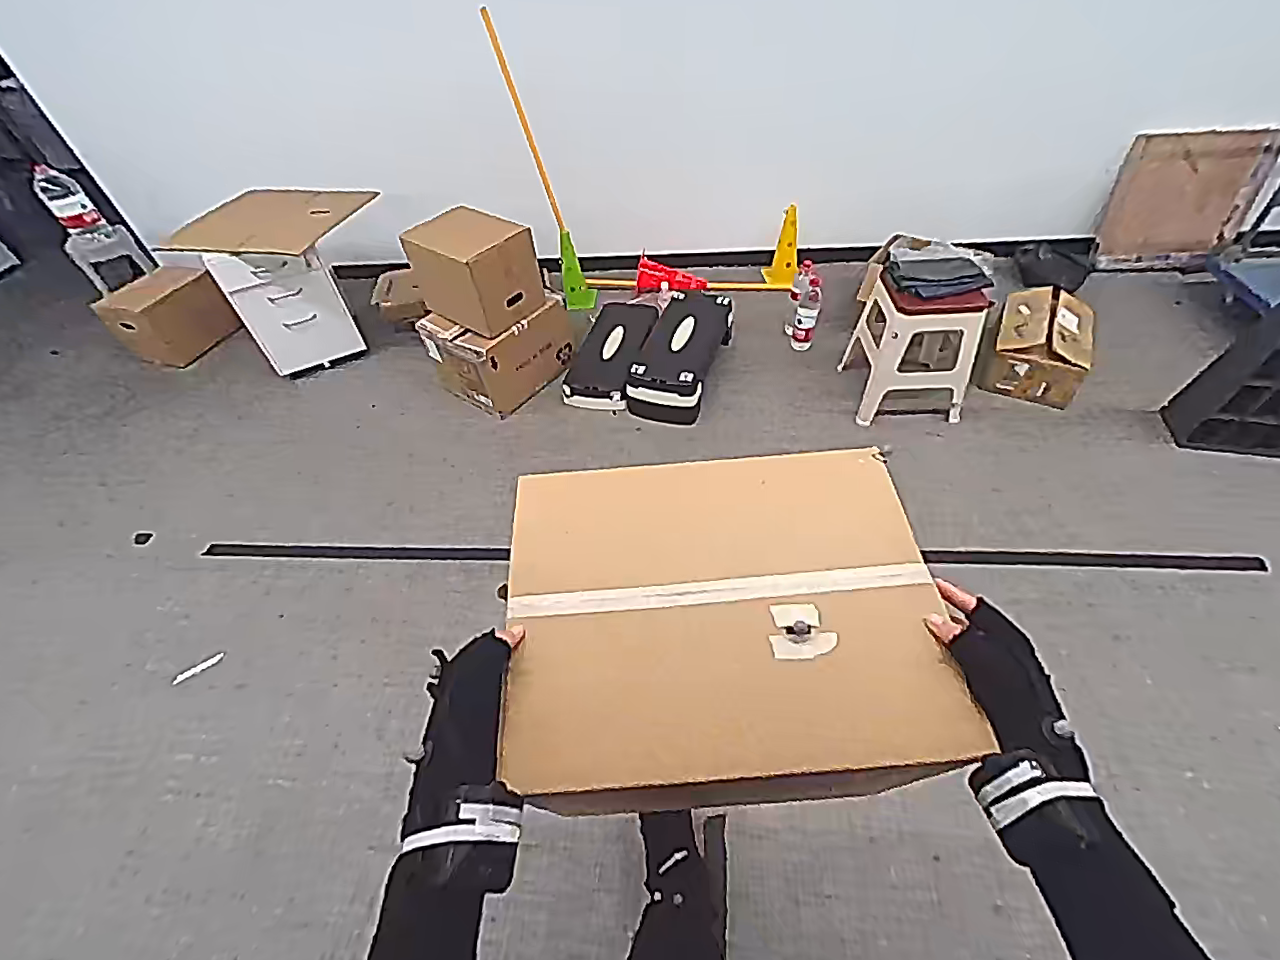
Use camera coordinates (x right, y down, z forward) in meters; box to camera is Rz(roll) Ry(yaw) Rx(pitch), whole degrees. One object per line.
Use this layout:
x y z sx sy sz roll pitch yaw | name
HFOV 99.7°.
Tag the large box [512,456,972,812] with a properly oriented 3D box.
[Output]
0.080 0.199 0.662 0.408 0.320 0.320 -5 56 0 | large box
